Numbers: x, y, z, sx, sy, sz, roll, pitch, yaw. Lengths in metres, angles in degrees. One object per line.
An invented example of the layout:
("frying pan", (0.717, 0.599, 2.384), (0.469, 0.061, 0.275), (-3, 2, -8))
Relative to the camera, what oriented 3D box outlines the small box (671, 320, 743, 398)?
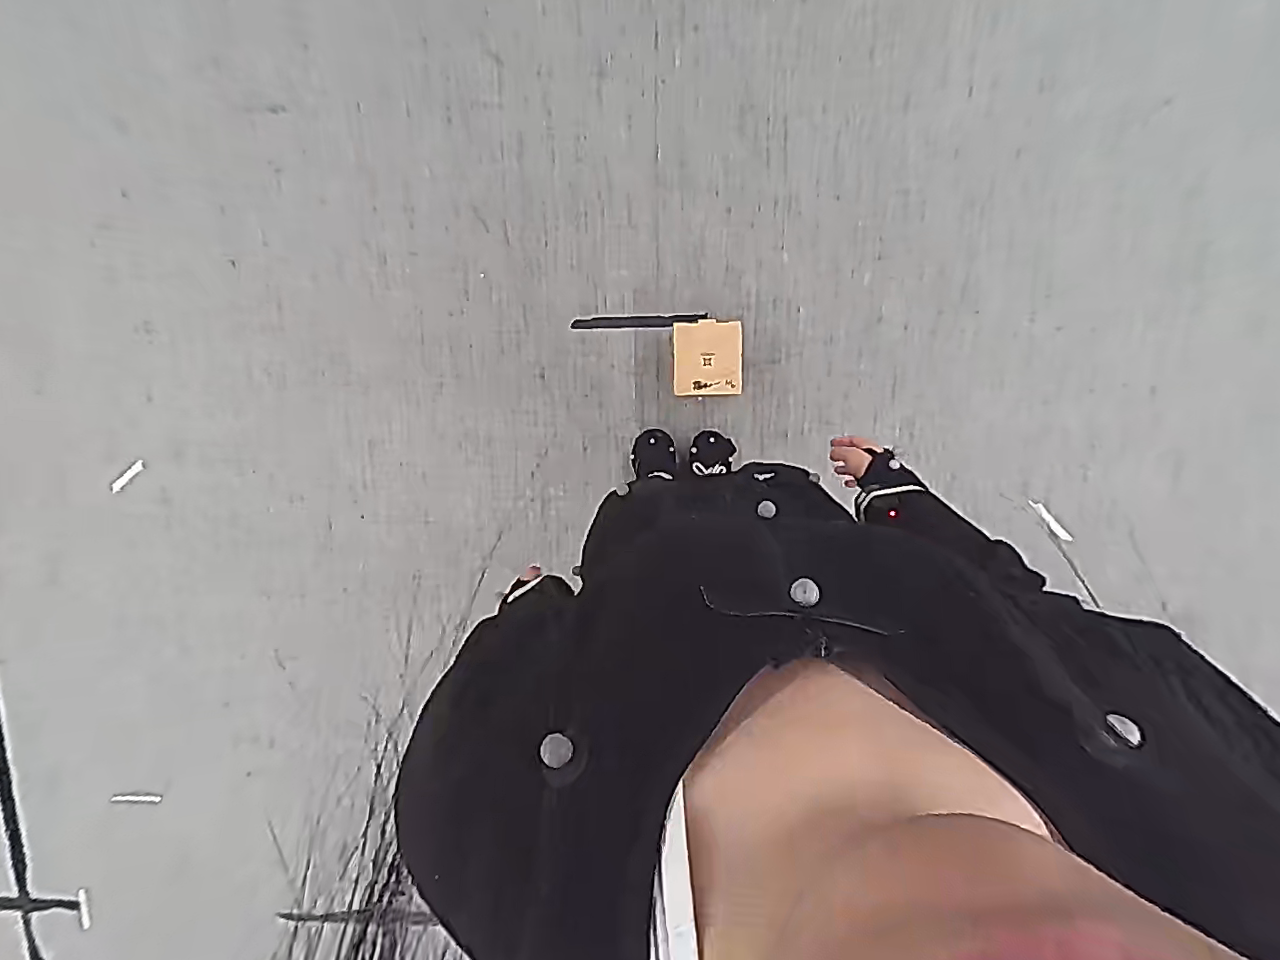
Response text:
("small box", (0.167, -0.304, 1.385), (0.168, 0.176, 0.179), (-2, 96, 2))
